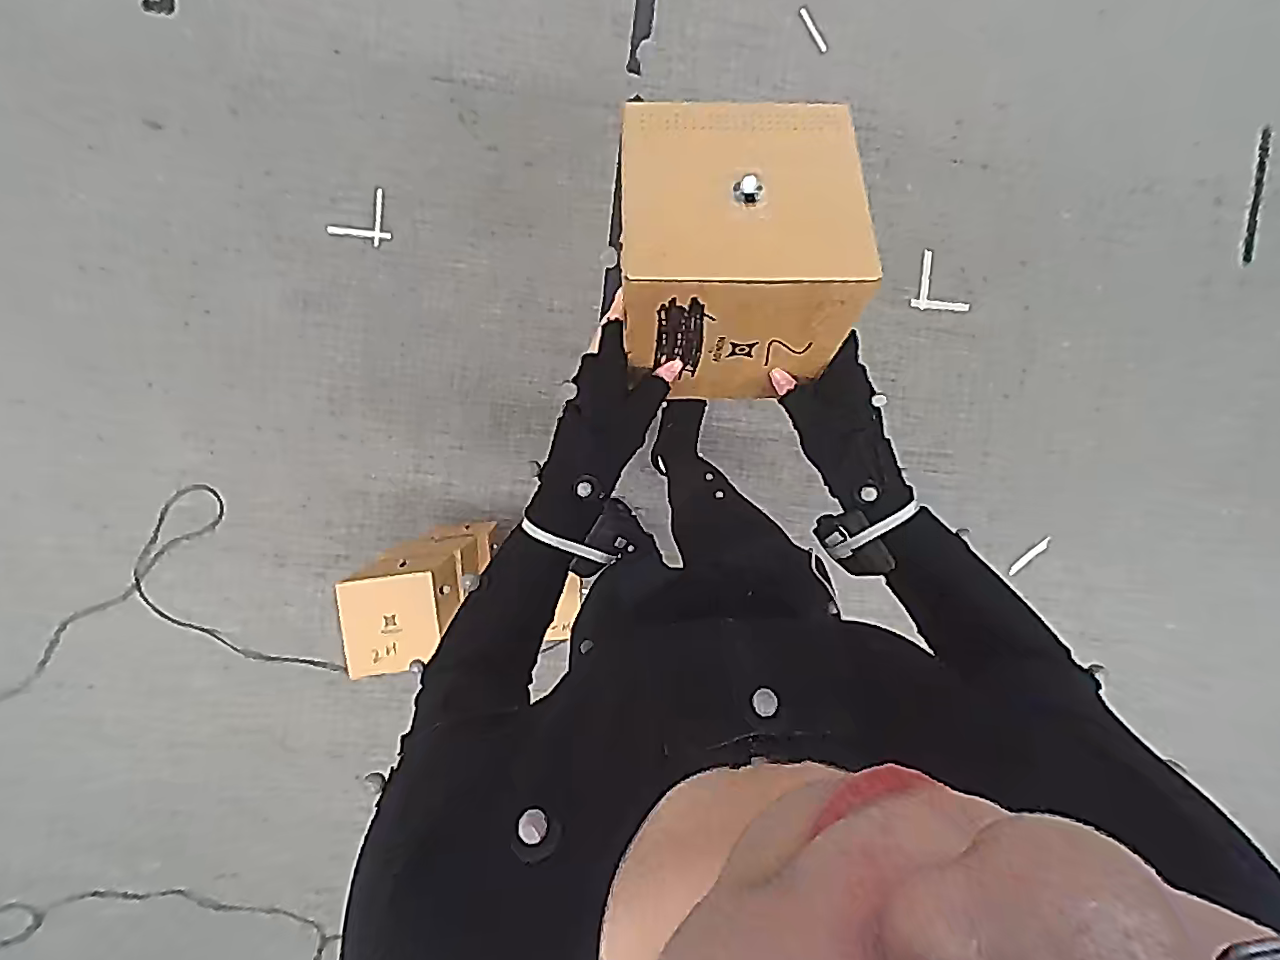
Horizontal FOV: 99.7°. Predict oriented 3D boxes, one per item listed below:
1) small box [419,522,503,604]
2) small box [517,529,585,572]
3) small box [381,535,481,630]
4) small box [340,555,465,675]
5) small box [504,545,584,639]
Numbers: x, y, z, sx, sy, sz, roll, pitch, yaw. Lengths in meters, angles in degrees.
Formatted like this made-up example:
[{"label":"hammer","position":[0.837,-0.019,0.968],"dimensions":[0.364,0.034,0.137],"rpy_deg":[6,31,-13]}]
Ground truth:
[{"label":"small box","position":[-0.444,0.209,1.363],"dimensions":[0.168,0.176,0.179],"rpy_deg":[-4,95,-5]},{"label":"small box","position":[-0.228,0.225,1.387],"dimensions":[0.168,0.176,0.179],"rpy_deg":[3,95,-6]},{"label":"small box","position":[-0.453,0.227,1.198],"dimensions":[0.168,0.176,0.179],"rpy_deg":[-3,94,-6]},{"label":"small box","position":[-0.444,0.246,1.034],"dimensions":[0.168,0.176,0.179],"rpy_deg":[-6,95,-5]},{"label":"small box","position":[-0.213,0.244,1.225],"dimensions":[0.168,0.176,0.179],"rpy_deg":[-1,94,-5]}]
